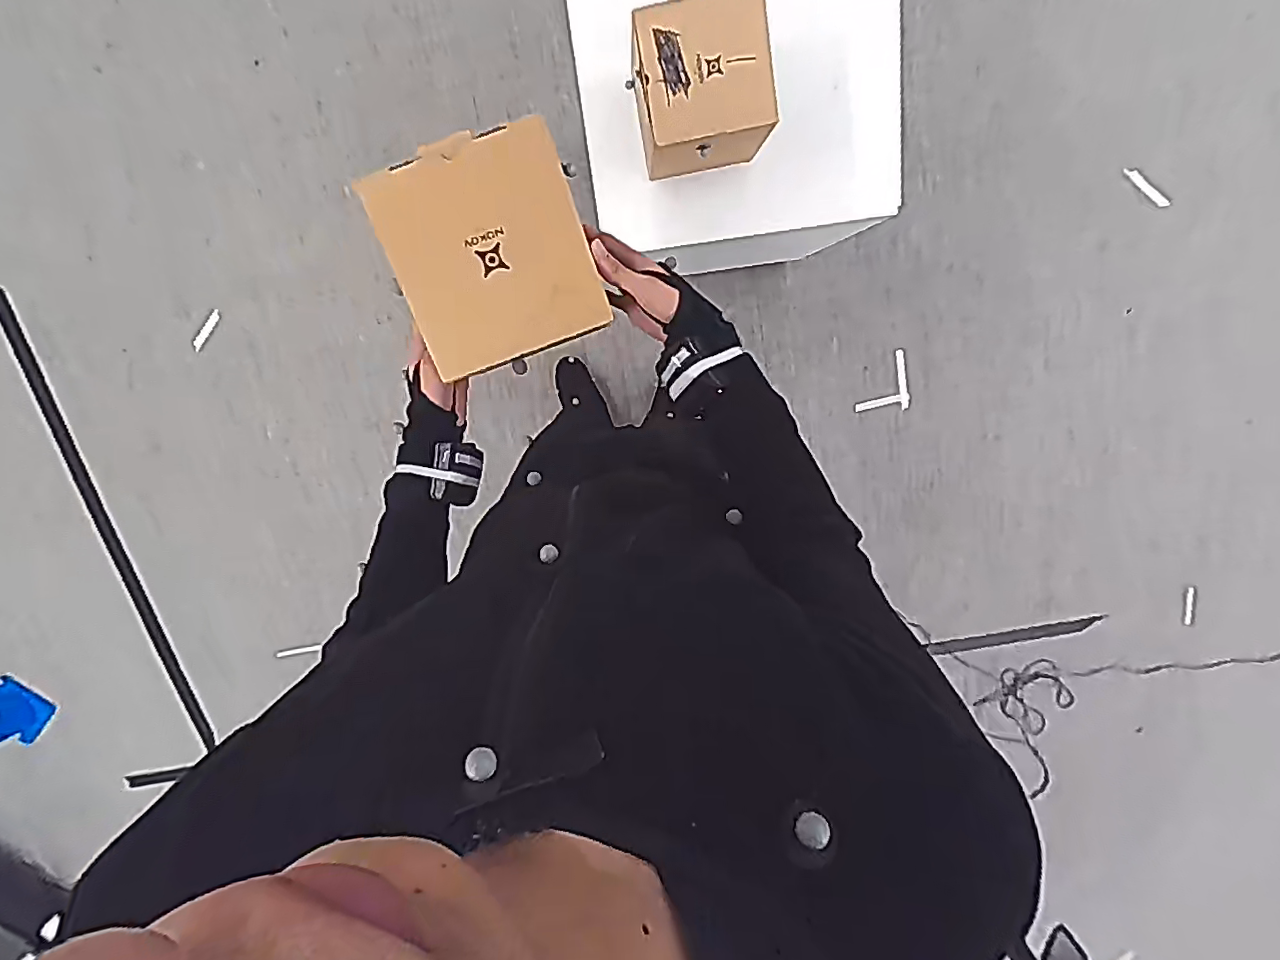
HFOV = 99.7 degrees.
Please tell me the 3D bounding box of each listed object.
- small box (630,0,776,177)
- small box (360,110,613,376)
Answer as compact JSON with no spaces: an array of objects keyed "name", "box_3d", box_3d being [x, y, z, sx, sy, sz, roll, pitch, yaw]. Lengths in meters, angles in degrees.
[{"name":"small box","box_3d":[0.085,-0.571,0.799,0.179,0.176,0.168,-11,105,1]},{"name":"small box","box_3d":[-0.132,-0.217,0.539,0.168,0.176,0.179,-20,104,0]}]
